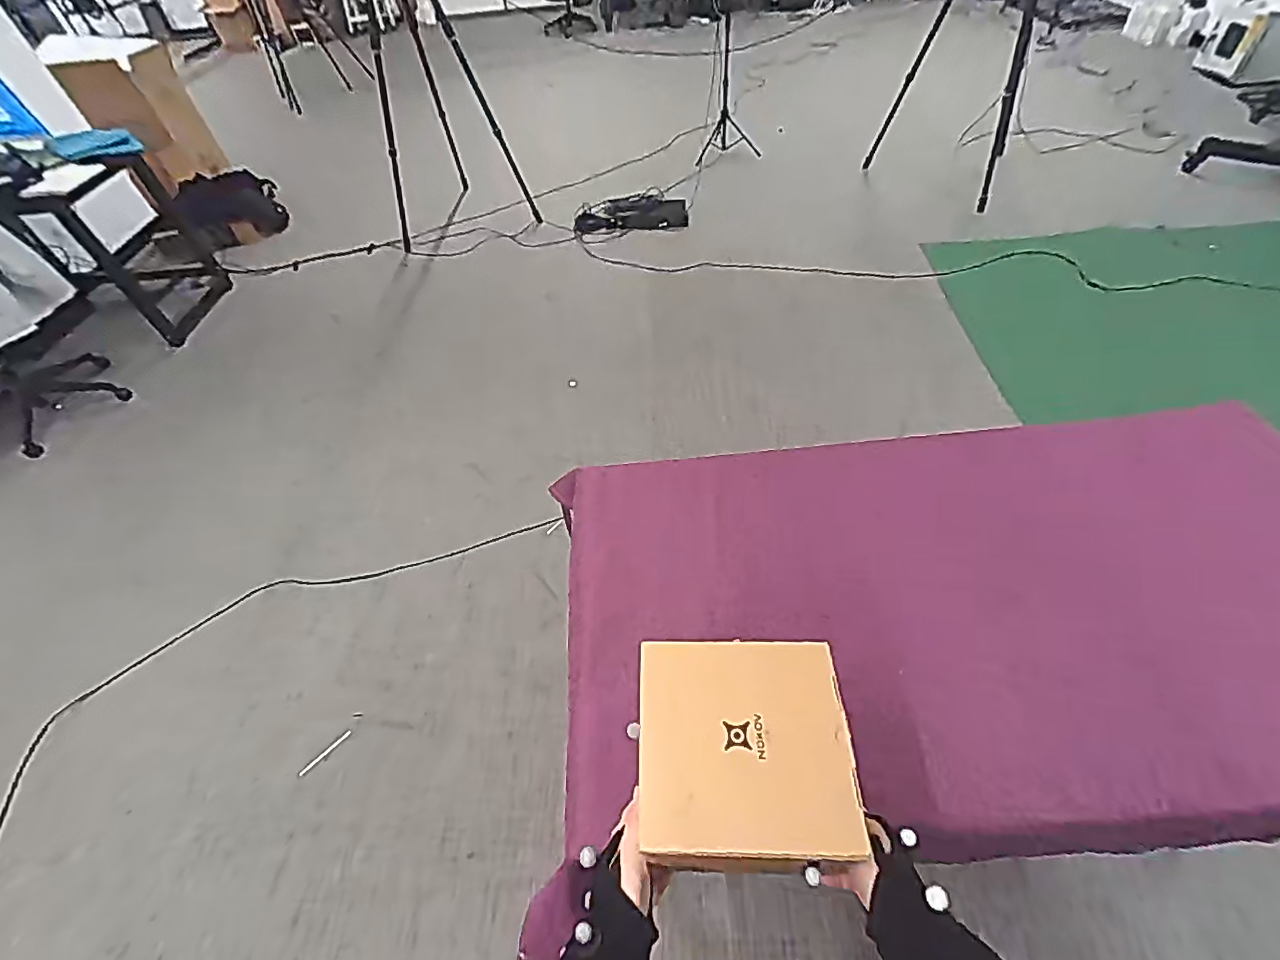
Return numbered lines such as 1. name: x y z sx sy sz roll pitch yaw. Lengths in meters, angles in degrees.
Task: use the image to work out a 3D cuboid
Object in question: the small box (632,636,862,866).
1. small box: 0.088 0.263 0.518 0.179 0.176 0.168 -2 50 3
